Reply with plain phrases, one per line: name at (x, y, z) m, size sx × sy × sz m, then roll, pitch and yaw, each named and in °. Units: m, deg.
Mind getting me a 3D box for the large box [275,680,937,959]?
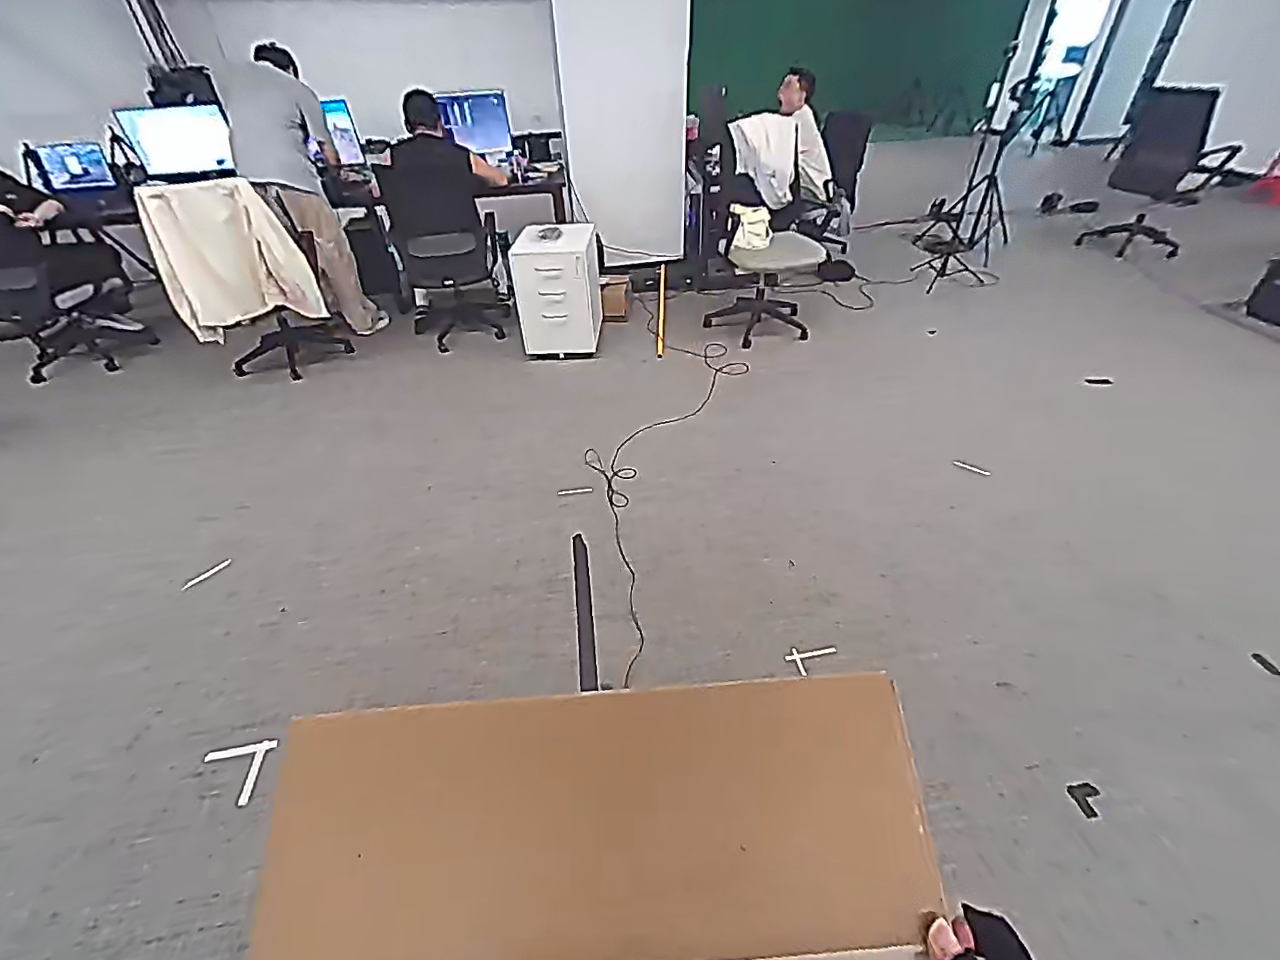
large box at (-0.016, 0.354, 0.456) m, size 0.408 × 0.320 × 0.320 m, roll -4°, pitch 67°, yaw -1°
